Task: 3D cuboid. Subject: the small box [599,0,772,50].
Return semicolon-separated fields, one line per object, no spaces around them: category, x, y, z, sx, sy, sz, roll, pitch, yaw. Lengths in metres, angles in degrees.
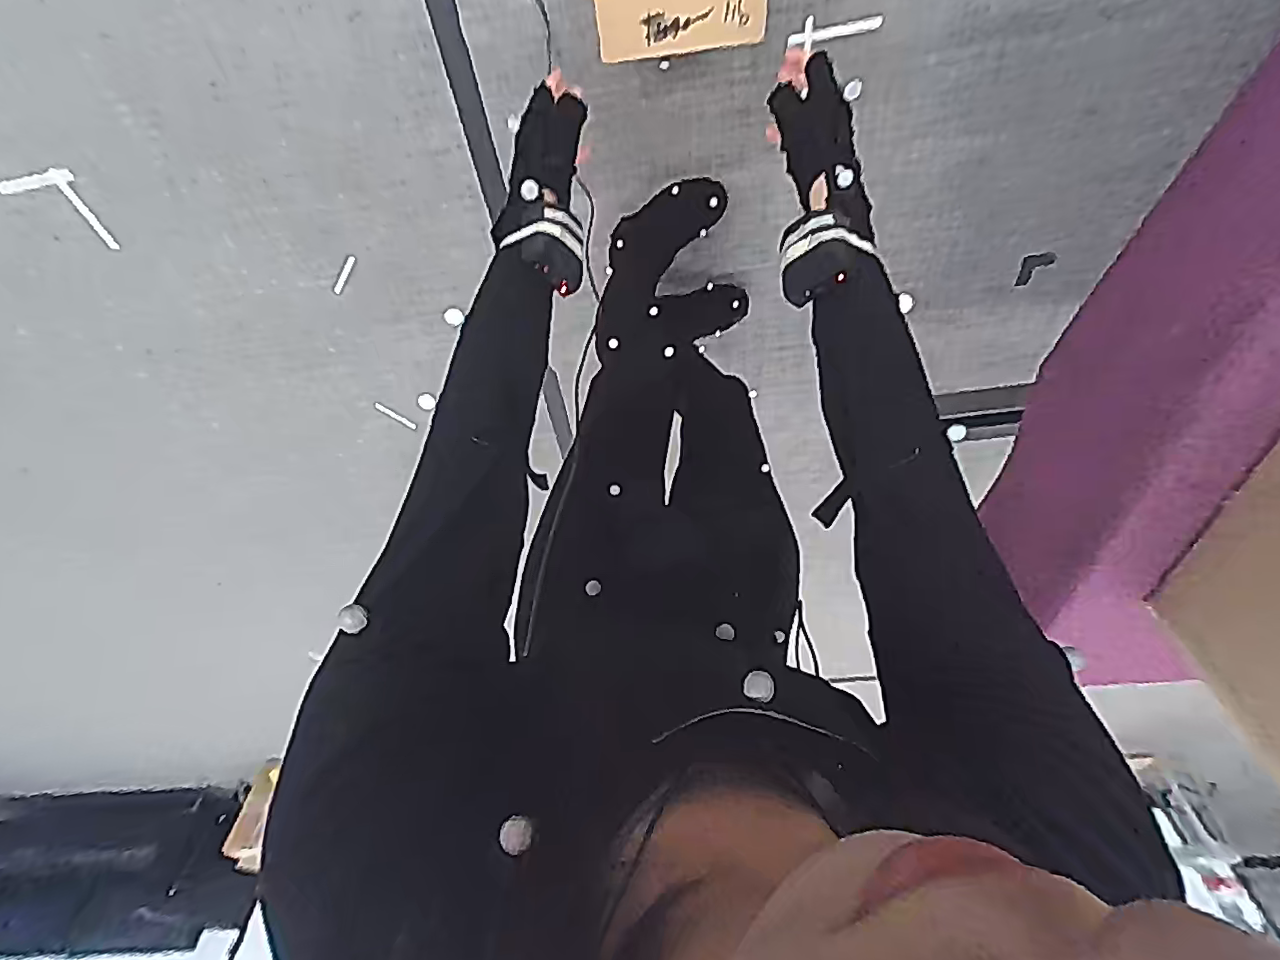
small box;0.037;-0.548;0.528;0.168;0.176;0.179;-4;134;5
